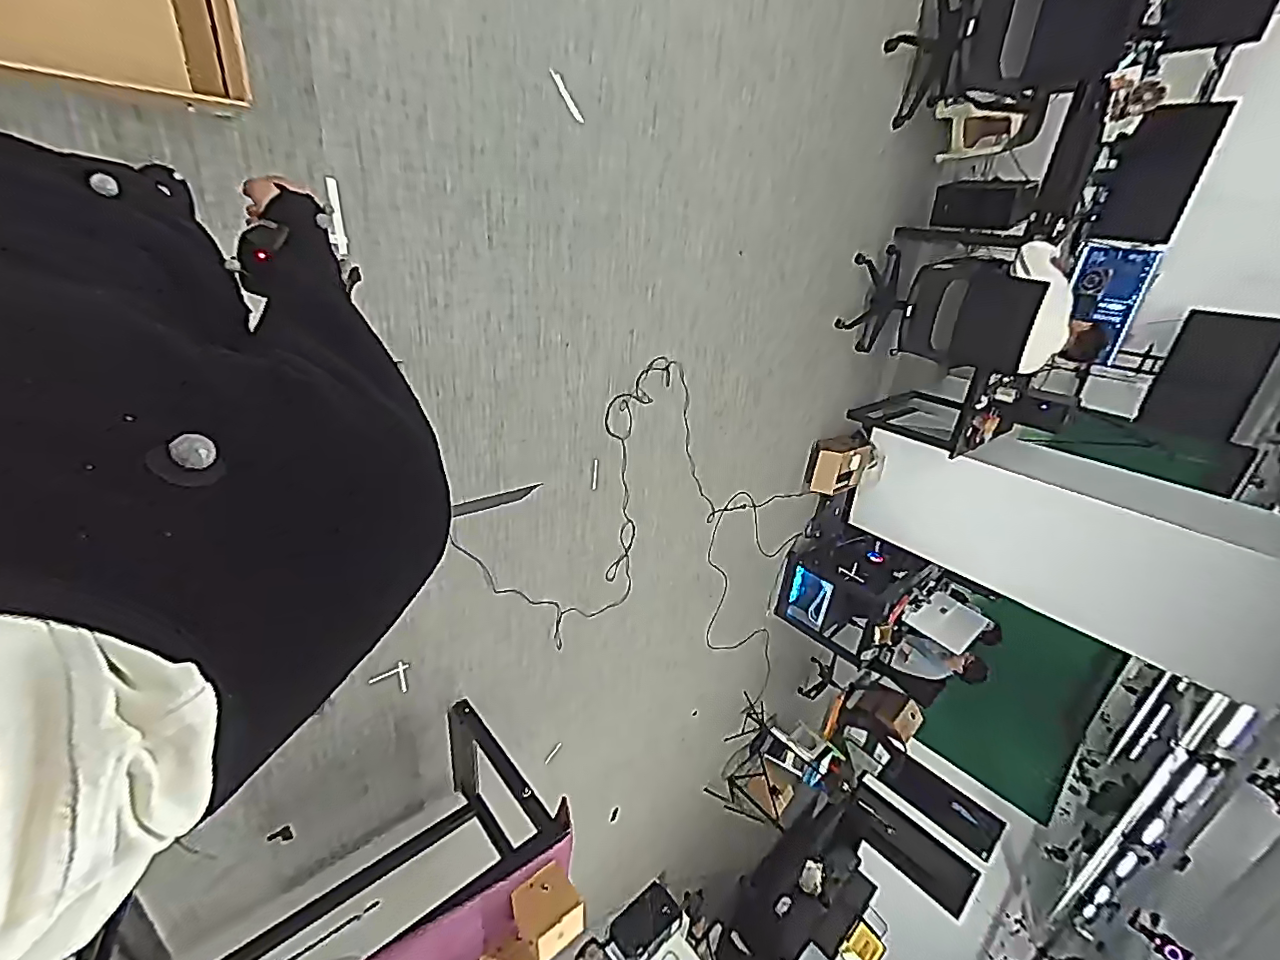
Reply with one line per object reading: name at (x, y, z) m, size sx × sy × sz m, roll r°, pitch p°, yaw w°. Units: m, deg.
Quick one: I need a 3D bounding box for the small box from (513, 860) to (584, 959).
small box at (-0.298, 1.396, 1.758) m, size 0.168 × 0.176 × 0.179 m, roll -19°, pitch 124°, yaw -36°

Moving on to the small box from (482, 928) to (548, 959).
small box at (-0.415, 1.629, 1.774) m, size 0.168 × 0.176 × 0.179 m, roll -9°, pitch 118°, yaw -42°
